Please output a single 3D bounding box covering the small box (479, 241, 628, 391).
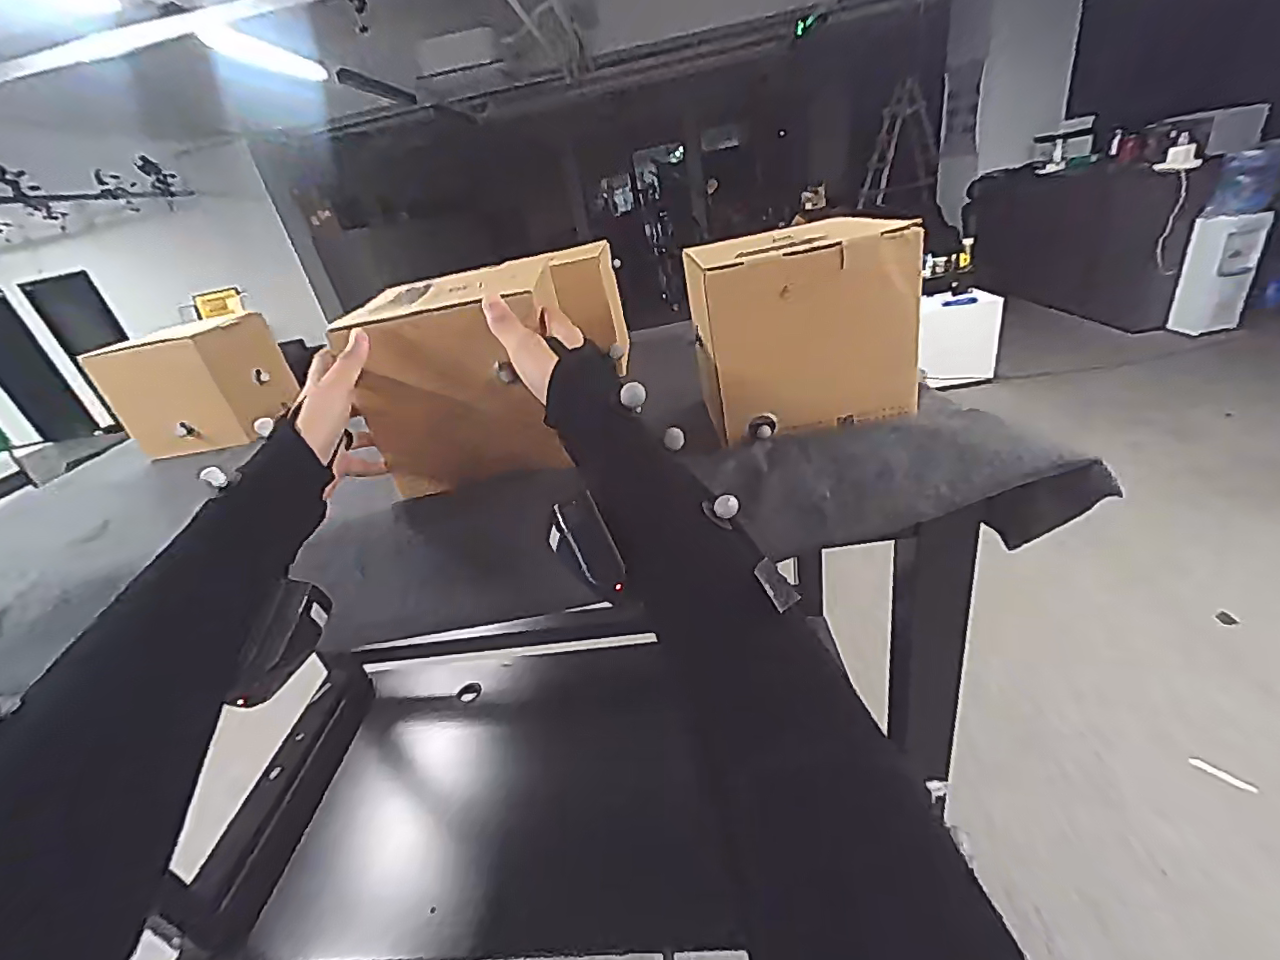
[{"bbox_3d":[-0.114,-0.240,0.804,0.168,0.176,0.179,-9,29,6],"label":"small box"}]

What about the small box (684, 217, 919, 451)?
[{"bbox_3d":[0.141,-0.136,0.511,0.168,0.176,0.179,-10,27,4],"label":"small box"}]

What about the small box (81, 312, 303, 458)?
[{"bbox_3d":[-0.682,-0.151,0.853,0.179,0.176,0.168,-9,29,4],"label":"small box"}]
